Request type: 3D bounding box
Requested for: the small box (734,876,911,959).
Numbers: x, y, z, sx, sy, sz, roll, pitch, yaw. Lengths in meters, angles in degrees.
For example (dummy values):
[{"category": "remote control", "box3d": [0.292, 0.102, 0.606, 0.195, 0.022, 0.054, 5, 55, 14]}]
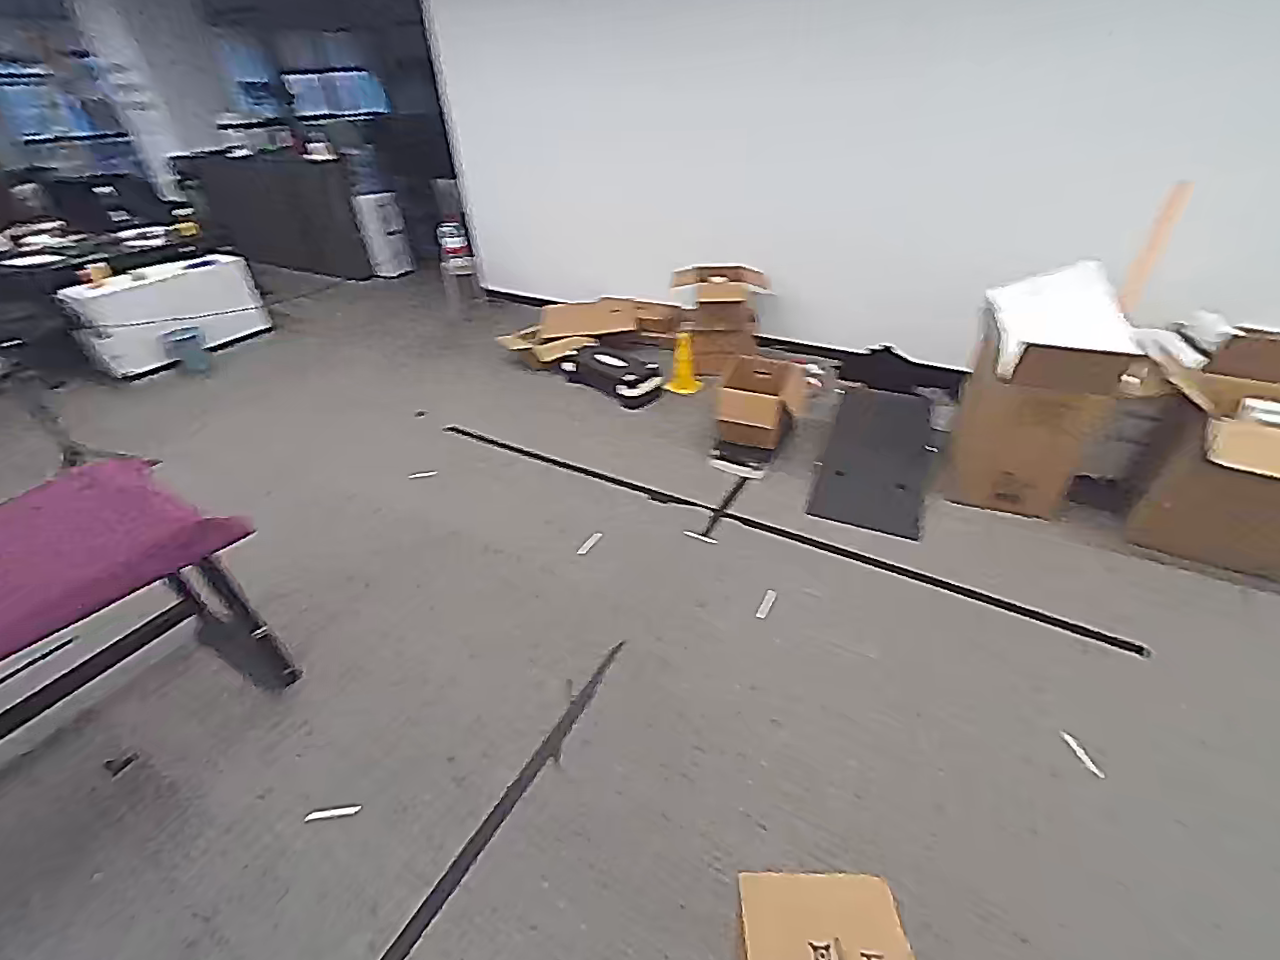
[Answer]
[{"category": "small box", "box3d": [0.197, 0.573, 0.591, 0.179, 0.176, 0.168, -1, 24, 3]}]
